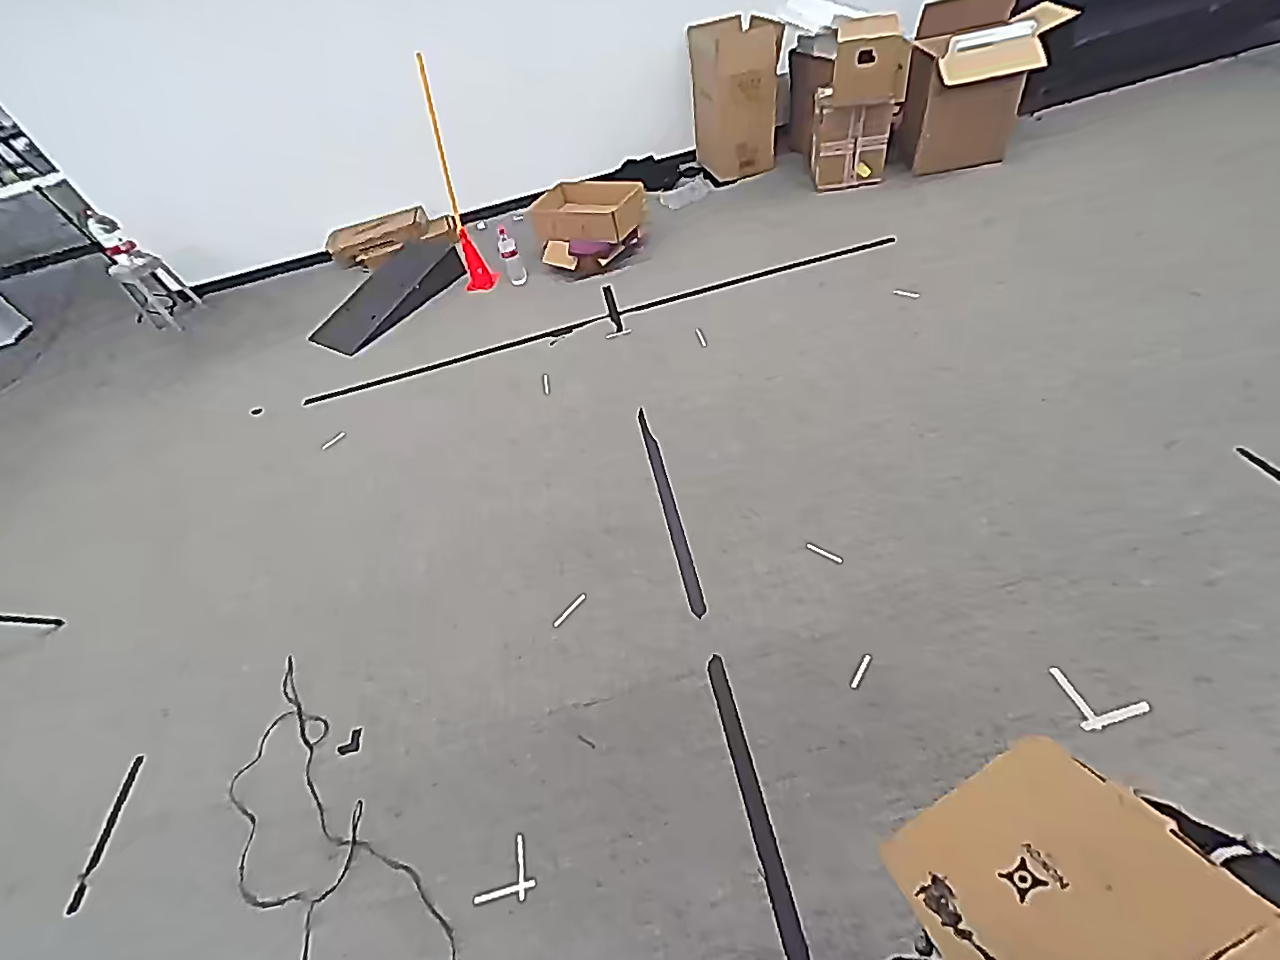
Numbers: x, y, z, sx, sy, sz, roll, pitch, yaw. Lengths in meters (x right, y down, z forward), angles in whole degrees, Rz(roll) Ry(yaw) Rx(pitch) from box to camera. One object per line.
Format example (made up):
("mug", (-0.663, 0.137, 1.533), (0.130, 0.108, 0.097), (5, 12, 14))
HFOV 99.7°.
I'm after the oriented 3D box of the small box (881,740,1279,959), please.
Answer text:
("small box", (0.330, 0.349, 0.405), (0.179, 0.176, 0.168), (-36, 10, 1))
